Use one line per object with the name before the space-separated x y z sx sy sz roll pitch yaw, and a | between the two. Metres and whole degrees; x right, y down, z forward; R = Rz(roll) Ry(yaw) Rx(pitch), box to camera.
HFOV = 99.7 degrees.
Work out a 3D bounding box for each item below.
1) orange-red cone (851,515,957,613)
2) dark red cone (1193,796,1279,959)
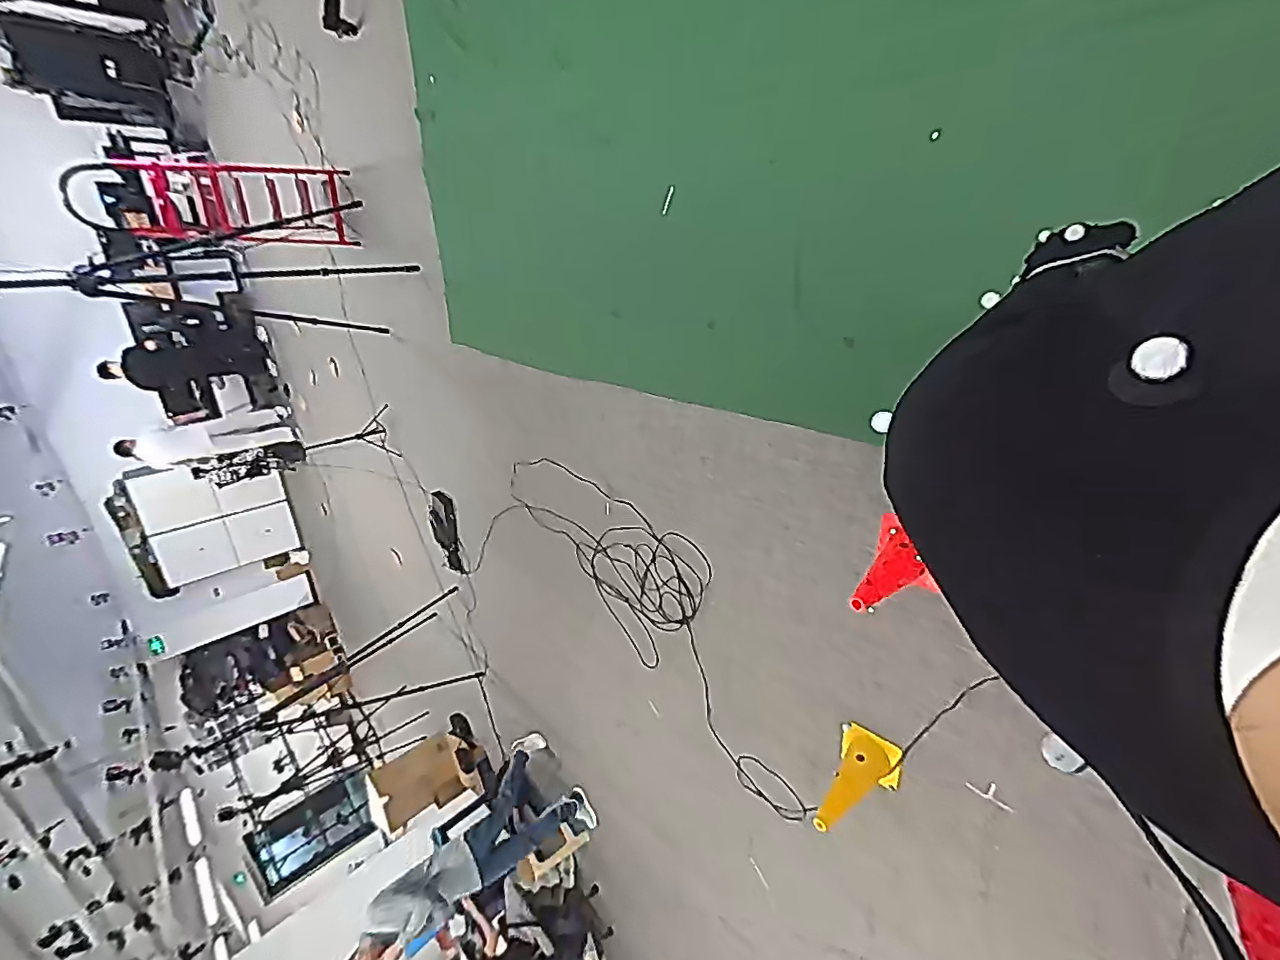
orange-red cone | 0.670 0.264 1.452 0.198 0.360 0.199 22 123 42
dark red cone | 1.223 0.842 1.054 0.202 0.394 0.201 15 116 44
